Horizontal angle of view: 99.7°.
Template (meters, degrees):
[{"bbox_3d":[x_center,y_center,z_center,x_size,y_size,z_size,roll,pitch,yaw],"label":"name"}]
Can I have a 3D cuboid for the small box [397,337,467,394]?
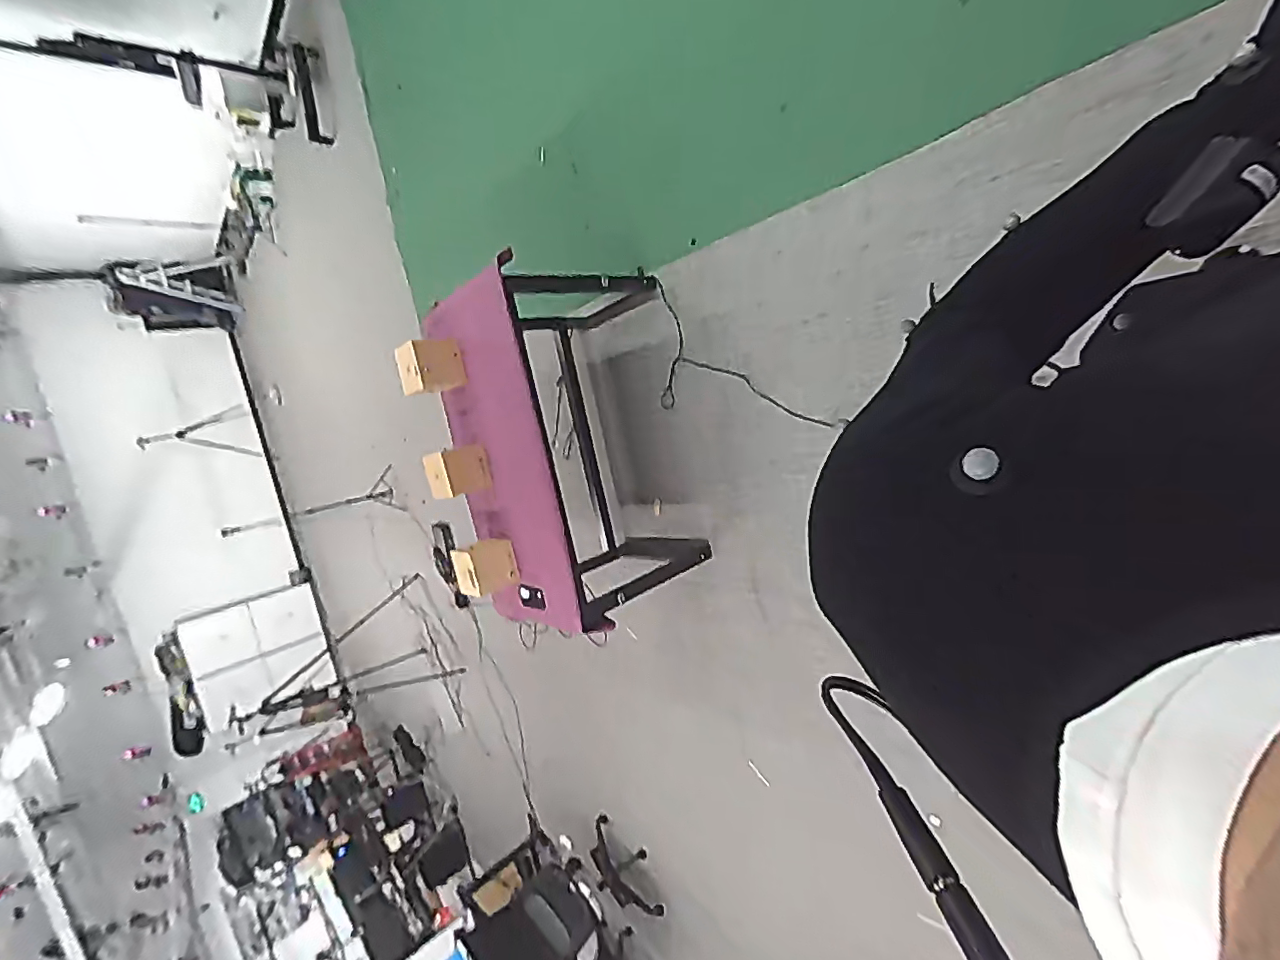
[{"bbox_3d":[-0.749,-0.412,1.950,0.179,0.176,0.168,-3,103,48],"label":"small box"}]

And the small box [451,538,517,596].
[{"bbox_3d":[-0.573,0.318,2.017,0.179,0.176,0.168,-5,99,49],"label":"small box"}]

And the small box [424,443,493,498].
[{"bbox_3d":[-0.667,-0.035,1.997,0.179,0.176,0.168,-6,100,48],"label":"small box"}]
